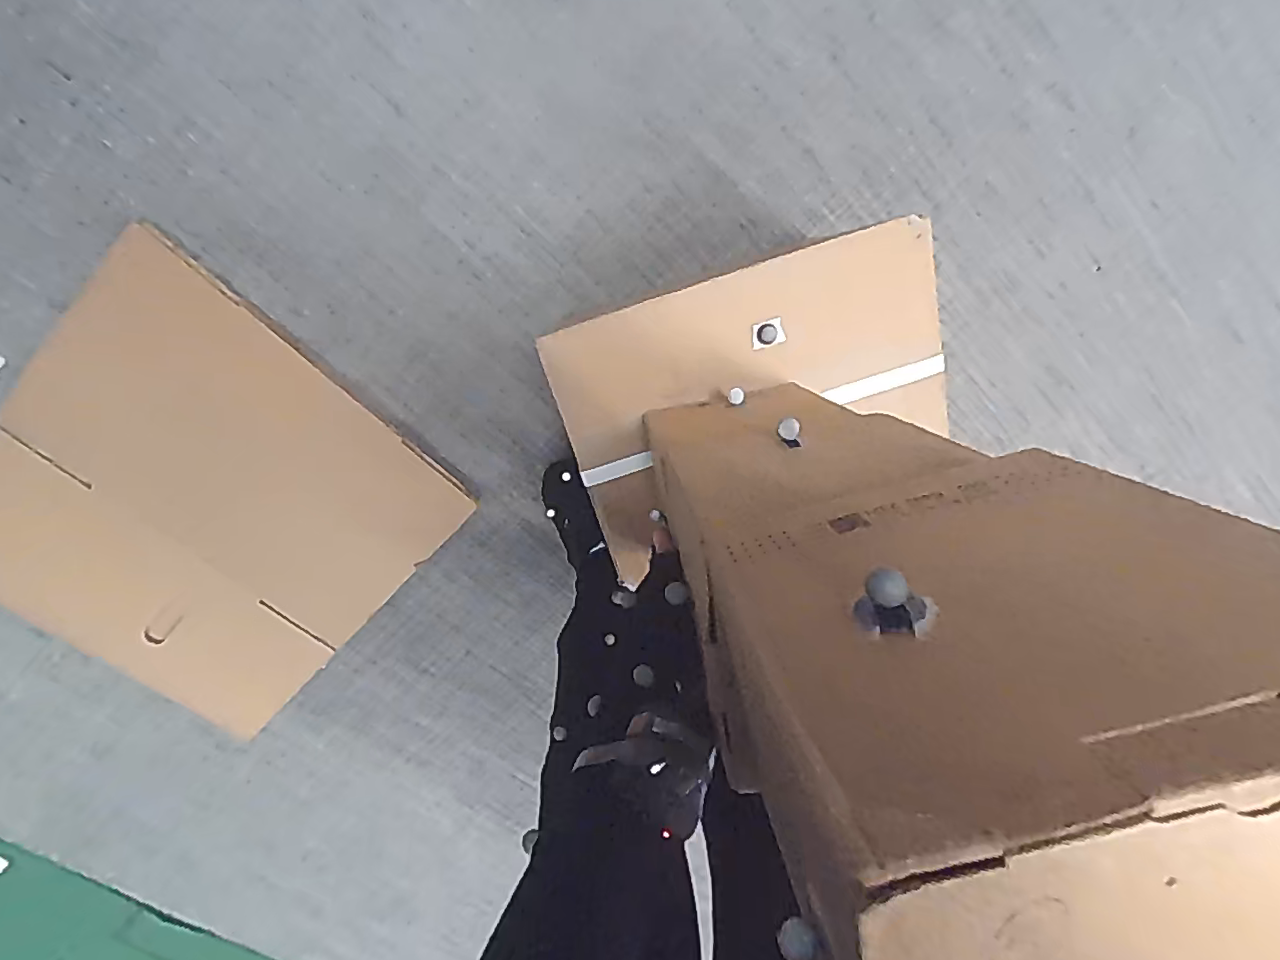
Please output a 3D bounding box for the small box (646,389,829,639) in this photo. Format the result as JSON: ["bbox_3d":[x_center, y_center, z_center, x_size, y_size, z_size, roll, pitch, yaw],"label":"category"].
[{"bbox_3d":[0.103,0.022,0.527,0.168,0.176,0.179,-12,108,0],"label":"small box"}]

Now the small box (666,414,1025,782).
[{"bbox_3d":[0.118,0.060,0.370,0.179,0.176,0.168,-13,106,-1],"label":"small box"}]
